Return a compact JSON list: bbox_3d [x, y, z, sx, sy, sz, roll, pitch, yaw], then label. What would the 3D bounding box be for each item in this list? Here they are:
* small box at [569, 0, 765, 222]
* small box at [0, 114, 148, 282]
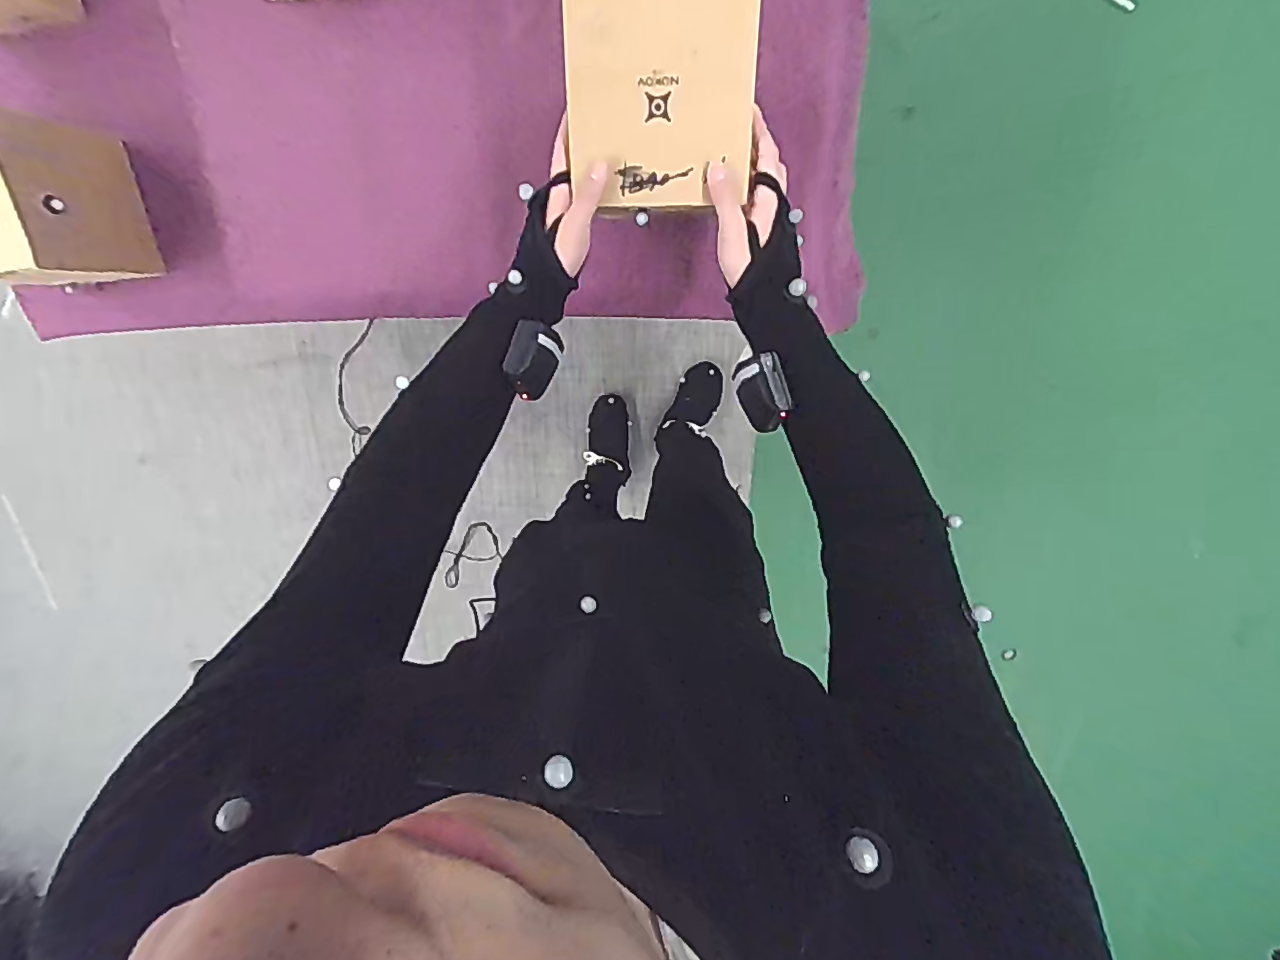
[{"bbox_3d":[0.026,-0.364,0.545,0.168,0.176,0.179,2,112,5],"label":"small box"},{"bbox_3d":[-0.786,-0.346,0.681,0.168,0.176,0.179,-3,108,6],"label":"small box"}]
